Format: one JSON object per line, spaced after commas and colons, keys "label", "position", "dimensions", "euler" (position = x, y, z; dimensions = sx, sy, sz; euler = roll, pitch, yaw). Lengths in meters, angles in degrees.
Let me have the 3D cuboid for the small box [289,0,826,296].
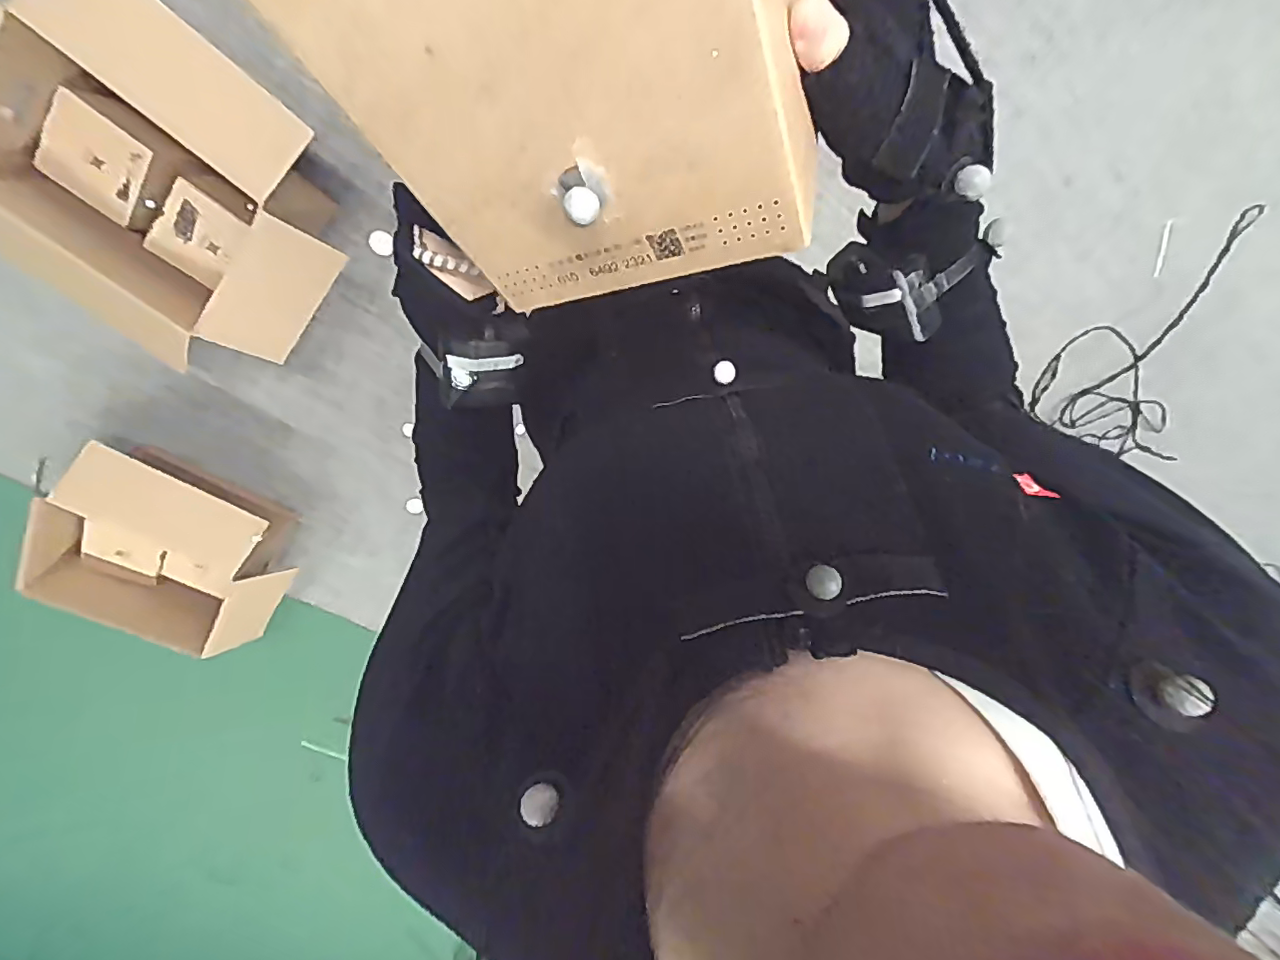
{"label": "small box", "position": [-0.016, -0.215, 0.240], "dimensions": [0.168, 0.179, 0.176], "euler": [-2, 152, 27]}
